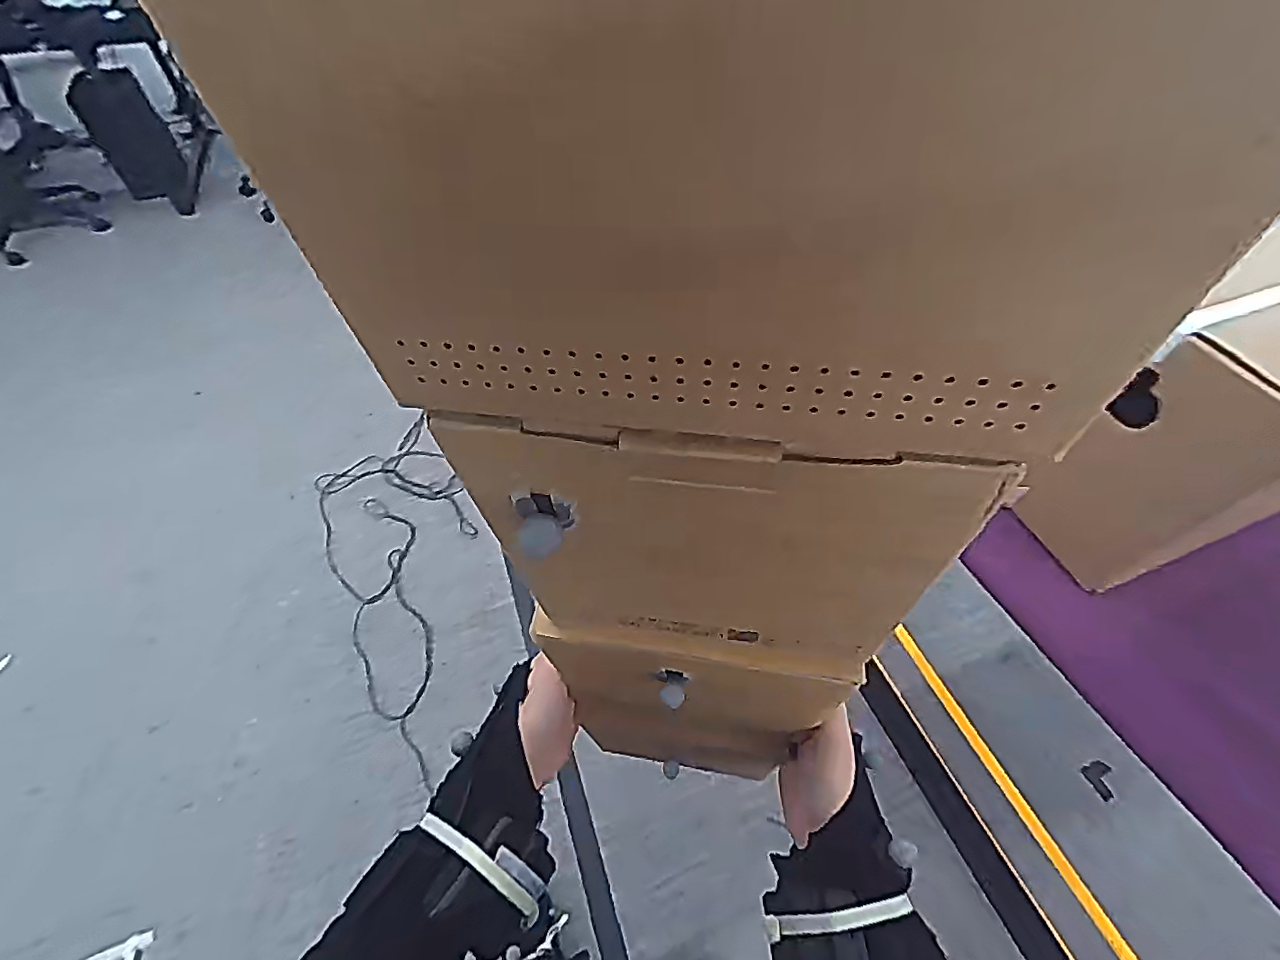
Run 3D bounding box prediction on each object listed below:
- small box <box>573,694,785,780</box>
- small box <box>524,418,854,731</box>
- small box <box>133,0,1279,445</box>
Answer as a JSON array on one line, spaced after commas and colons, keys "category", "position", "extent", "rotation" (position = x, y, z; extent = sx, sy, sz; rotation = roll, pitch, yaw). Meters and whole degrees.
[{"category": "small box", "position": [0.047, 0.170, 0.519], "extent": [0.168, 0.176, 0.179], "rotation": [6, 57, 10]}, {"category": "small box", "position": [0.041, 0.071, 0.389], "extent": [0.179, 0.176, 0.168], "rotation": [5, 56, 9]}, {"category": "small box", "position": [0.018, -0.124, 0.124], "extent": [0.179, 0.176, 0.168], "rotation": [5, 55, 10]}]
